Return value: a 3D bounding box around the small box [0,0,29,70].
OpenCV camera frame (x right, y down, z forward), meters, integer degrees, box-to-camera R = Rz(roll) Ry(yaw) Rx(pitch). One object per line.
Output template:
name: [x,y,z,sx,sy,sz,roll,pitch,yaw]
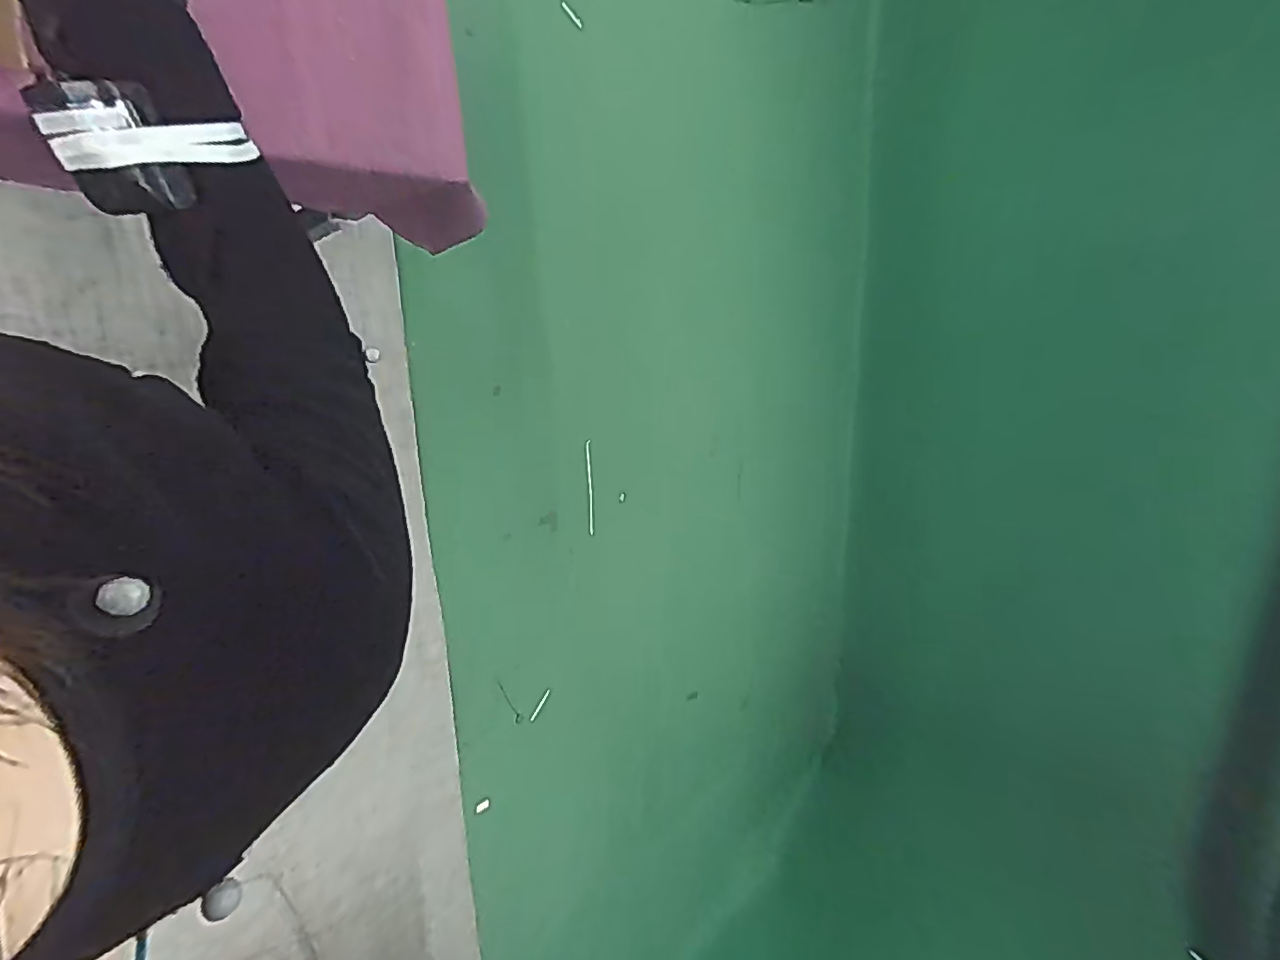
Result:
small box: [-0.580,-0.427,0.377,0.179,0.176,0.168,-18,110,-45]
